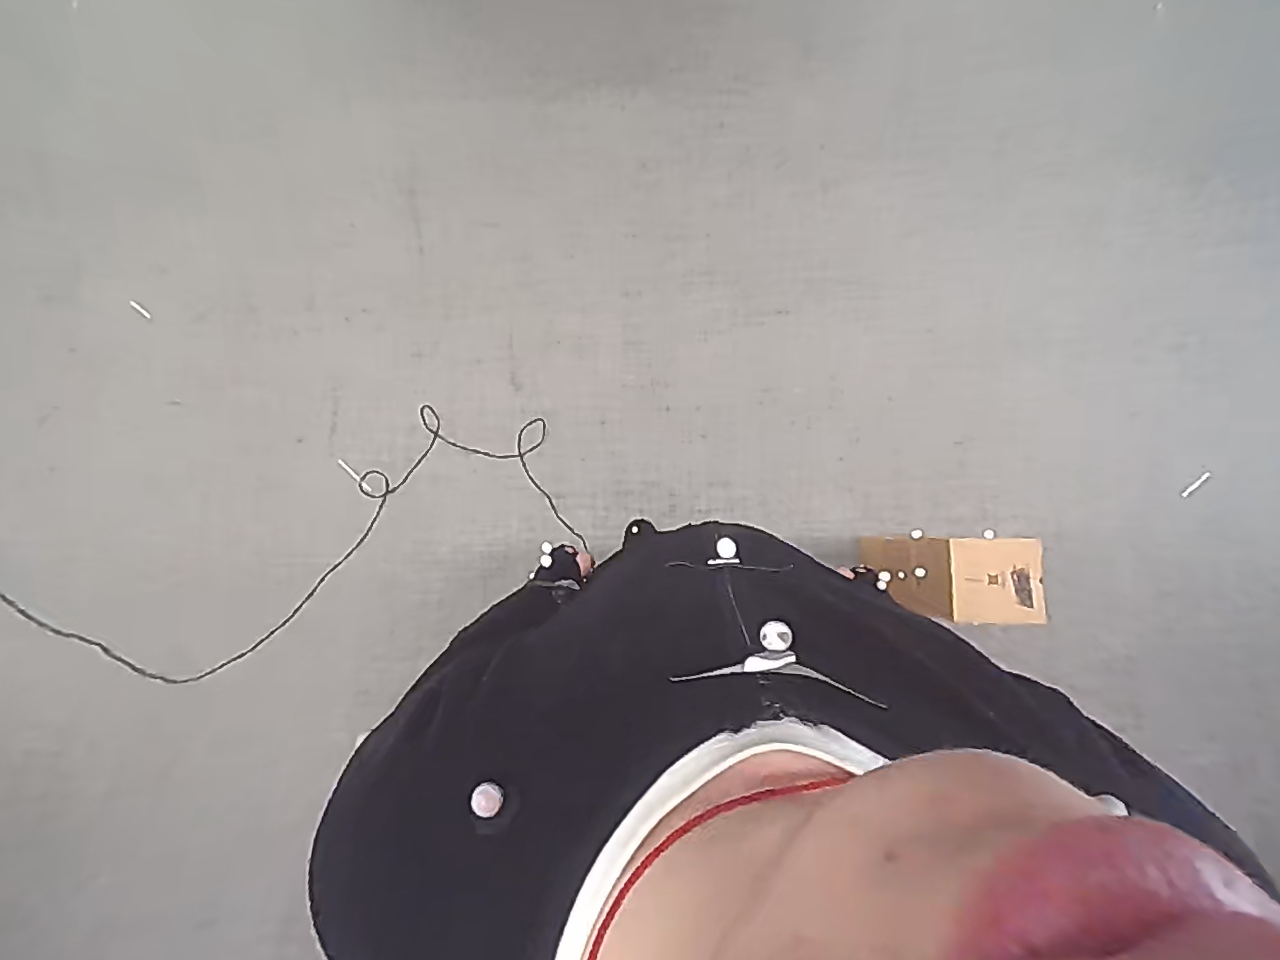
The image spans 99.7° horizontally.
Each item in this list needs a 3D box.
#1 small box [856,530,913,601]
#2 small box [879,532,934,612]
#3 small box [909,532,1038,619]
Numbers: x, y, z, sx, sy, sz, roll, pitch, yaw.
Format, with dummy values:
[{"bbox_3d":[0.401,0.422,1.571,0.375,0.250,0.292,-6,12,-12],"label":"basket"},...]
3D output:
[{"bbox_3d":[0.699,0.228,1.466,0.168,0.176,0.179,0,86,2],"label":"small box"},{"bbox_3d":[0.693,0.216,1.306,0.168,0.176,0.179,-2,88,2],"label":"small box"},{"bbox_3d":[0.694,0.194,1.141,0.179,0.176,0.168,0,85,3],"label":"small box"}]
